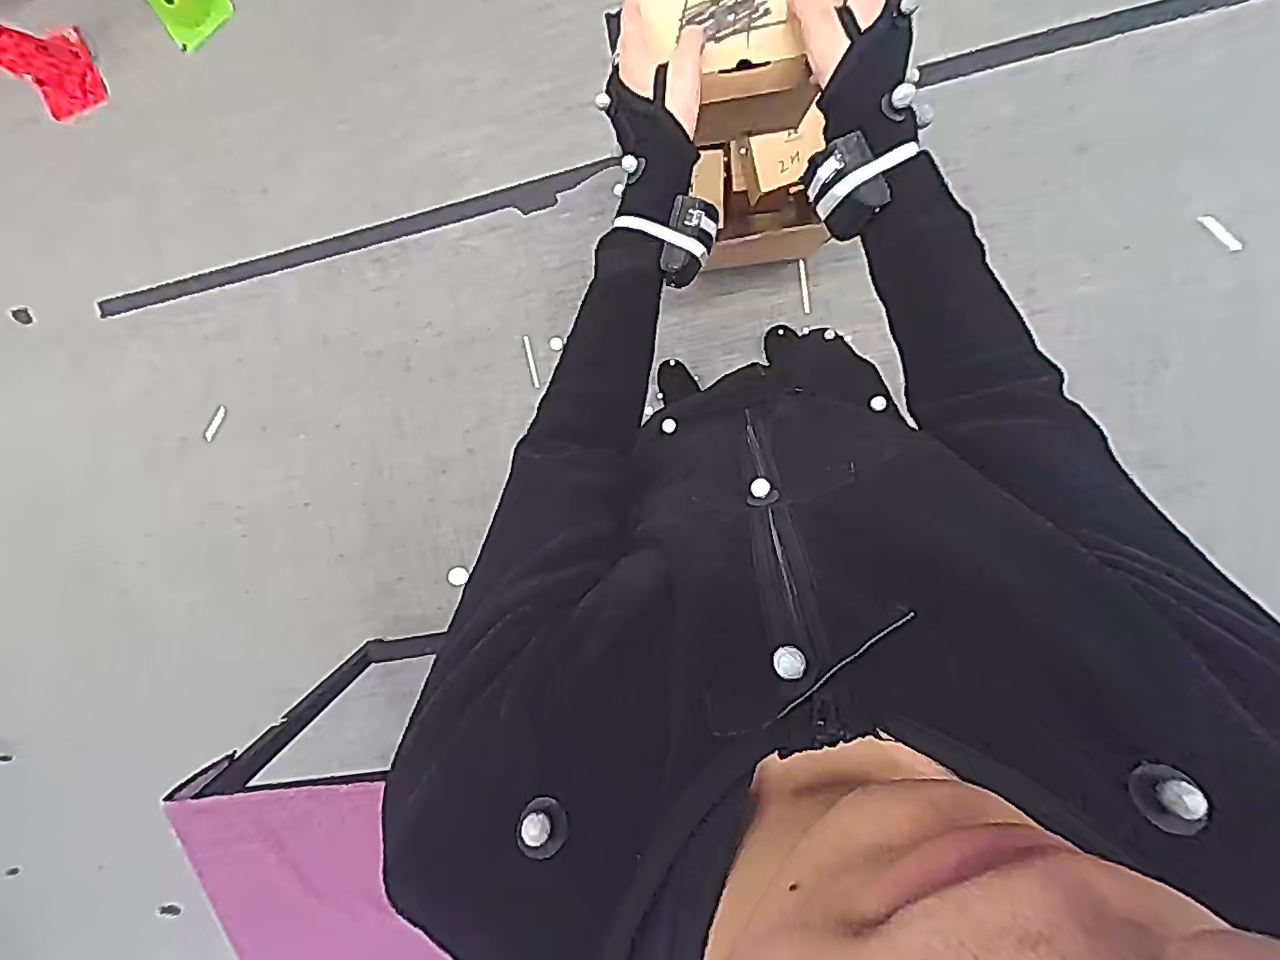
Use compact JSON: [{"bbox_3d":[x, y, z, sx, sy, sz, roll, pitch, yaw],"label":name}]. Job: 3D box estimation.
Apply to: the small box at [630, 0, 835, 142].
[{"bbox_3d":[0.075,-0.446,0.511,0.168,0.176,0.179,-7,104,5],"label":"small box"}]
